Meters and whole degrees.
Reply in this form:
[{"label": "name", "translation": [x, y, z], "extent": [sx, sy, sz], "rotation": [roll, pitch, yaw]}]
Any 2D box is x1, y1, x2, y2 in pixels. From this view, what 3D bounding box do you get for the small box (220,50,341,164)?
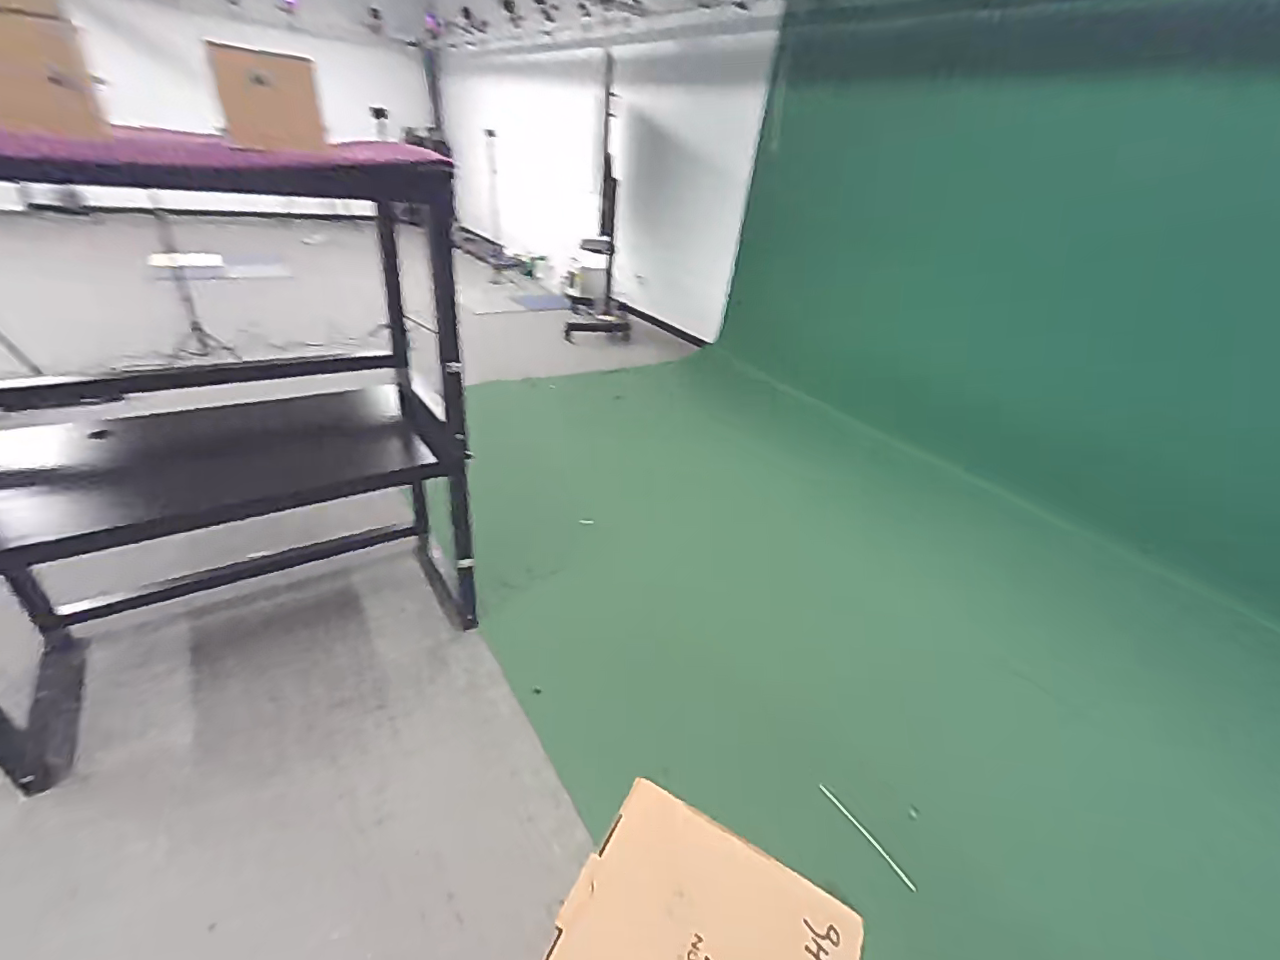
[{"label": "small box", "translation": [-0.747, -0.767, 1.129], "extent": [0.179, 0.176, 0.168], "rotation": [-14, 34, -32]}]
